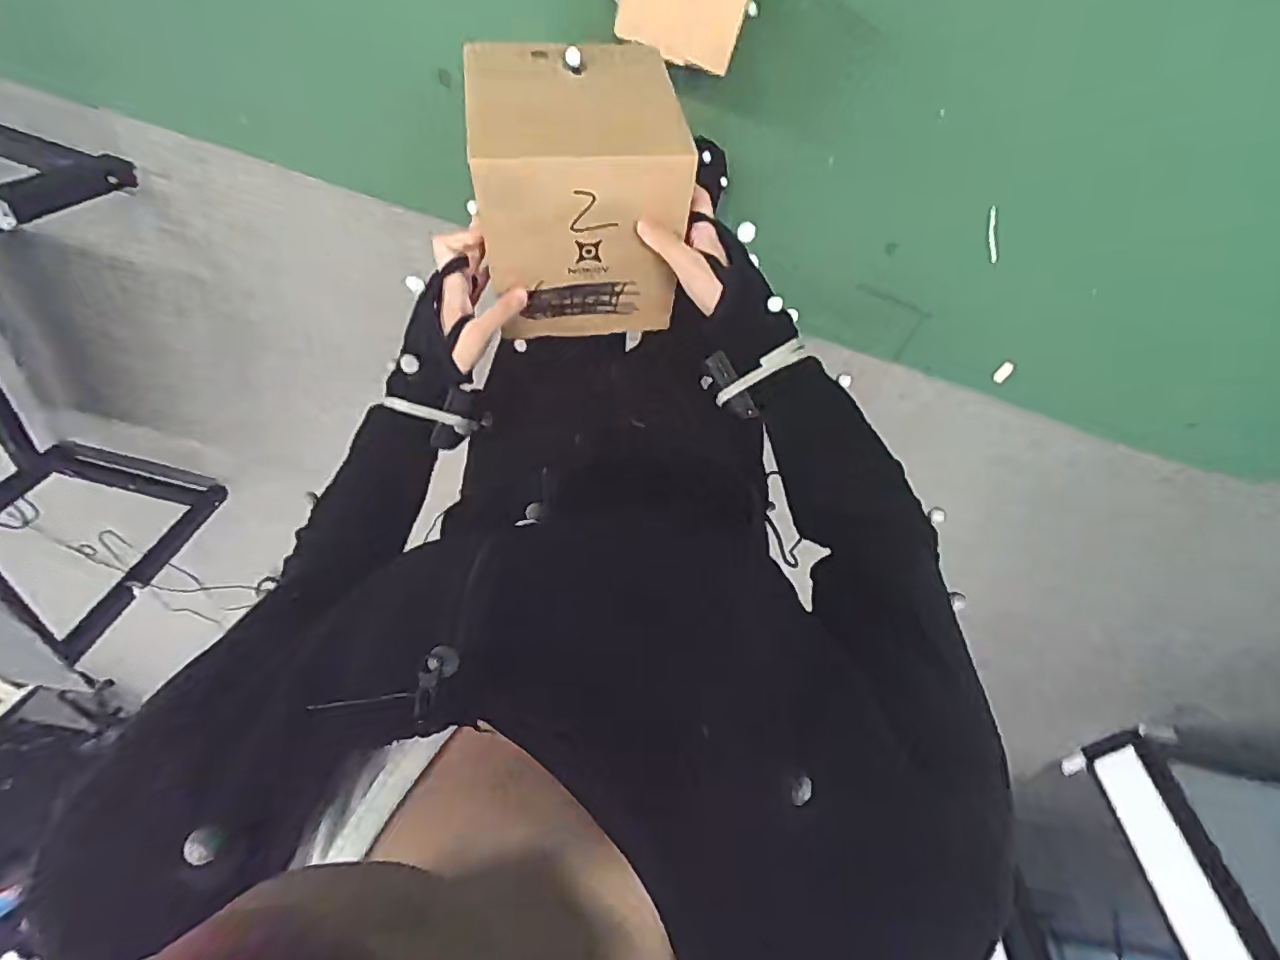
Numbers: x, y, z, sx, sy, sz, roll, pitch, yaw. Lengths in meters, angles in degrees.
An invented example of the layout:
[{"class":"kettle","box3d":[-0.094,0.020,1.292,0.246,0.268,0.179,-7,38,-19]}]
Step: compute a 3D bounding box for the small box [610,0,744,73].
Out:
[{"class":"small box","box3d":[0.064,-0.709,0.755,0.168,0.176,0.179,15,132,-9]}]
